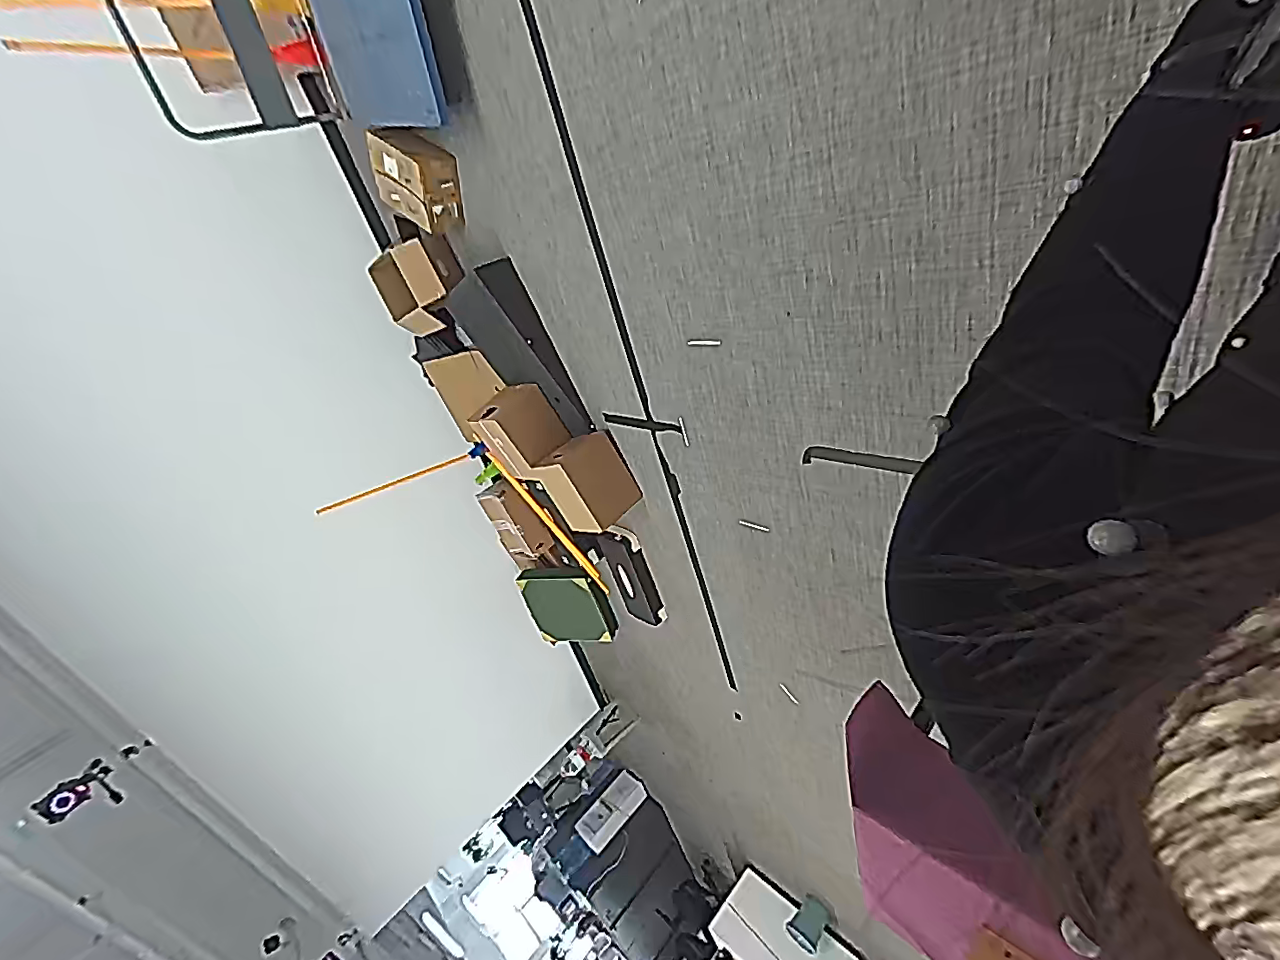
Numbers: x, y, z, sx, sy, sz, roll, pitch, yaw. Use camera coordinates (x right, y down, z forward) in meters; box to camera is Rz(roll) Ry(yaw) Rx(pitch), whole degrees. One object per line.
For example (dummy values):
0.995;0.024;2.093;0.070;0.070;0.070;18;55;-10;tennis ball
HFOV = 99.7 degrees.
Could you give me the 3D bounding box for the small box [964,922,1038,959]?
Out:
0.826;1.158;1.217;0.168;0.176;0.179;16;133;46;small box
